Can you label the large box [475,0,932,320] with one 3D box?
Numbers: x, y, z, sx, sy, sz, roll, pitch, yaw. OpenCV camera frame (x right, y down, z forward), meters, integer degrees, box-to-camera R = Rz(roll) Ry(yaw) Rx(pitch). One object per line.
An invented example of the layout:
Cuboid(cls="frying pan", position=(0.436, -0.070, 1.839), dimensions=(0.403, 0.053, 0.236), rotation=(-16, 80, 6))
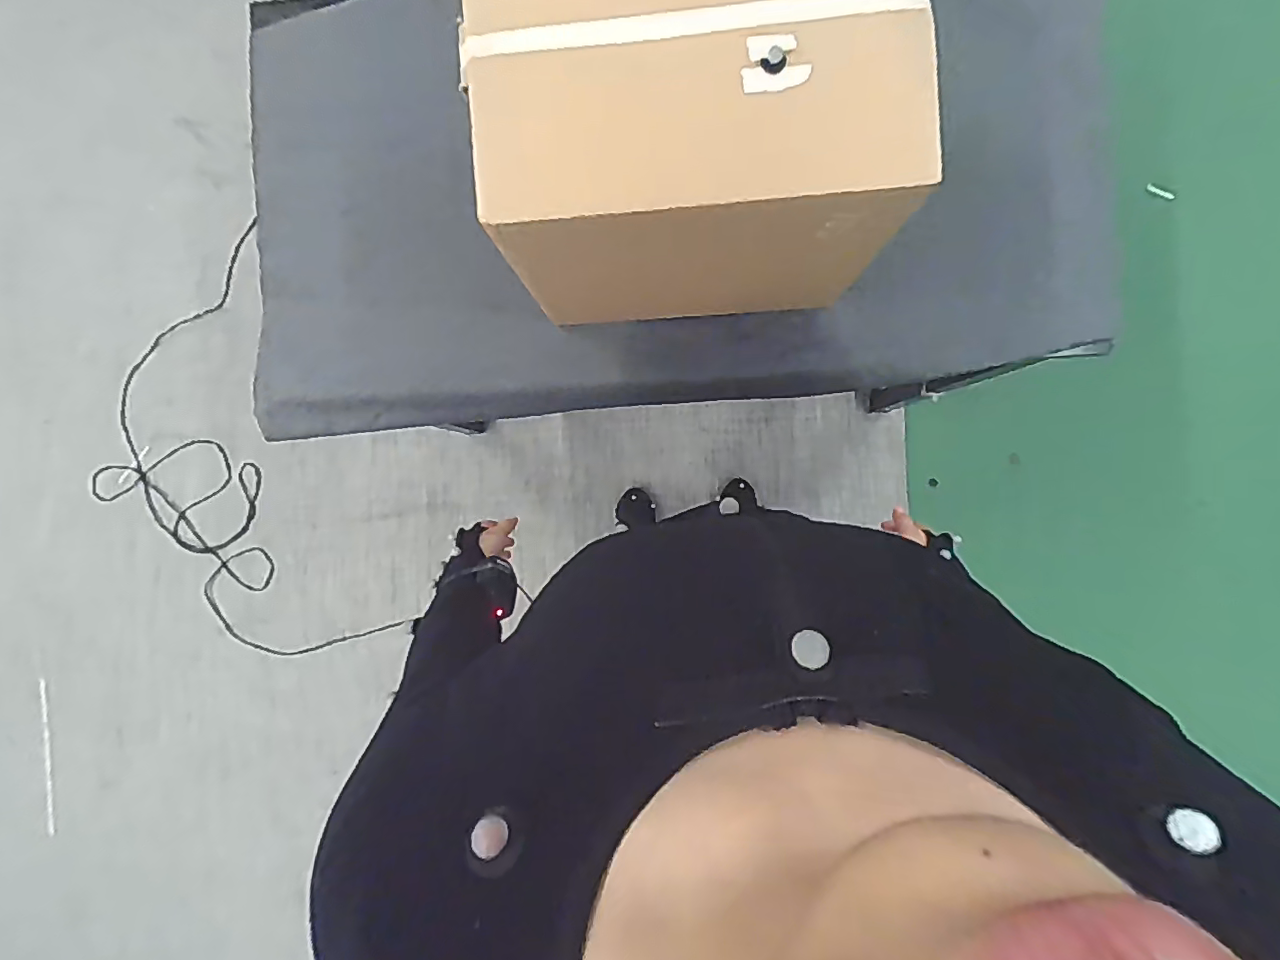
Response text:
Cuboid(cls="large box", position=(0.055, -0.401, 0.636), dimensions=(0.408, 0.320, 0.320), rotation=(-4, 90, 3))
